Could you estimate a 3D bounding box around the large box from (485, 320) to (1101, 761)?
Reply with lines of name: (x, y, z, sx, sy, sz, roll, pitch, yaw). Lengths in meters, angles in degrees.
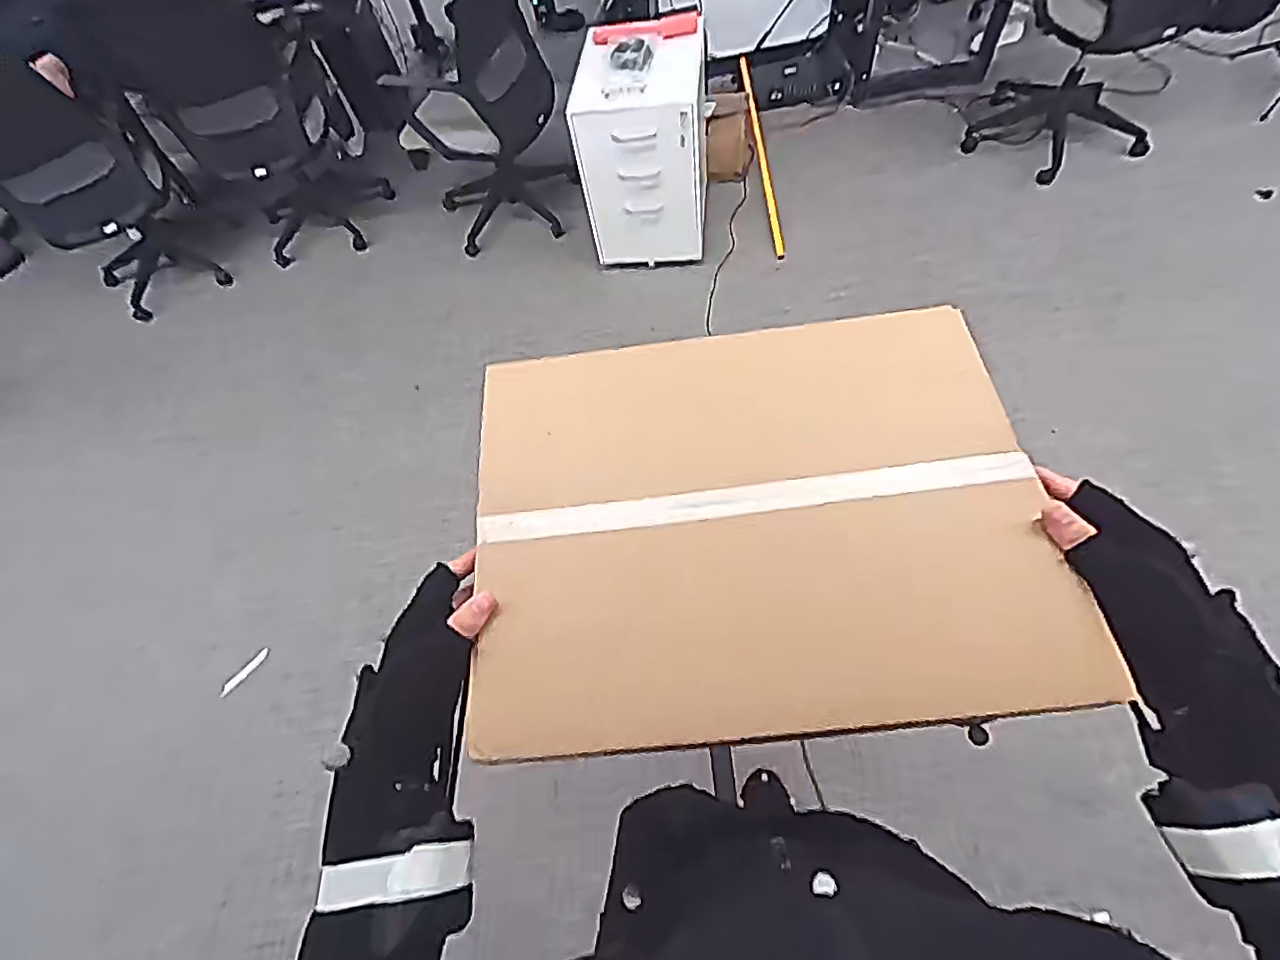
large box: (0.096, 0.085, 0.542, 0.408, 0.320, 0.320, -7, 63, 2)

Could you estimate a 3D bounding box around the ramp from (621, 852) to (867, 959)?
ramp: (0.221, 1.220, 0.873, 0.509, 0.206, 0.991, -9, 60, 4)
